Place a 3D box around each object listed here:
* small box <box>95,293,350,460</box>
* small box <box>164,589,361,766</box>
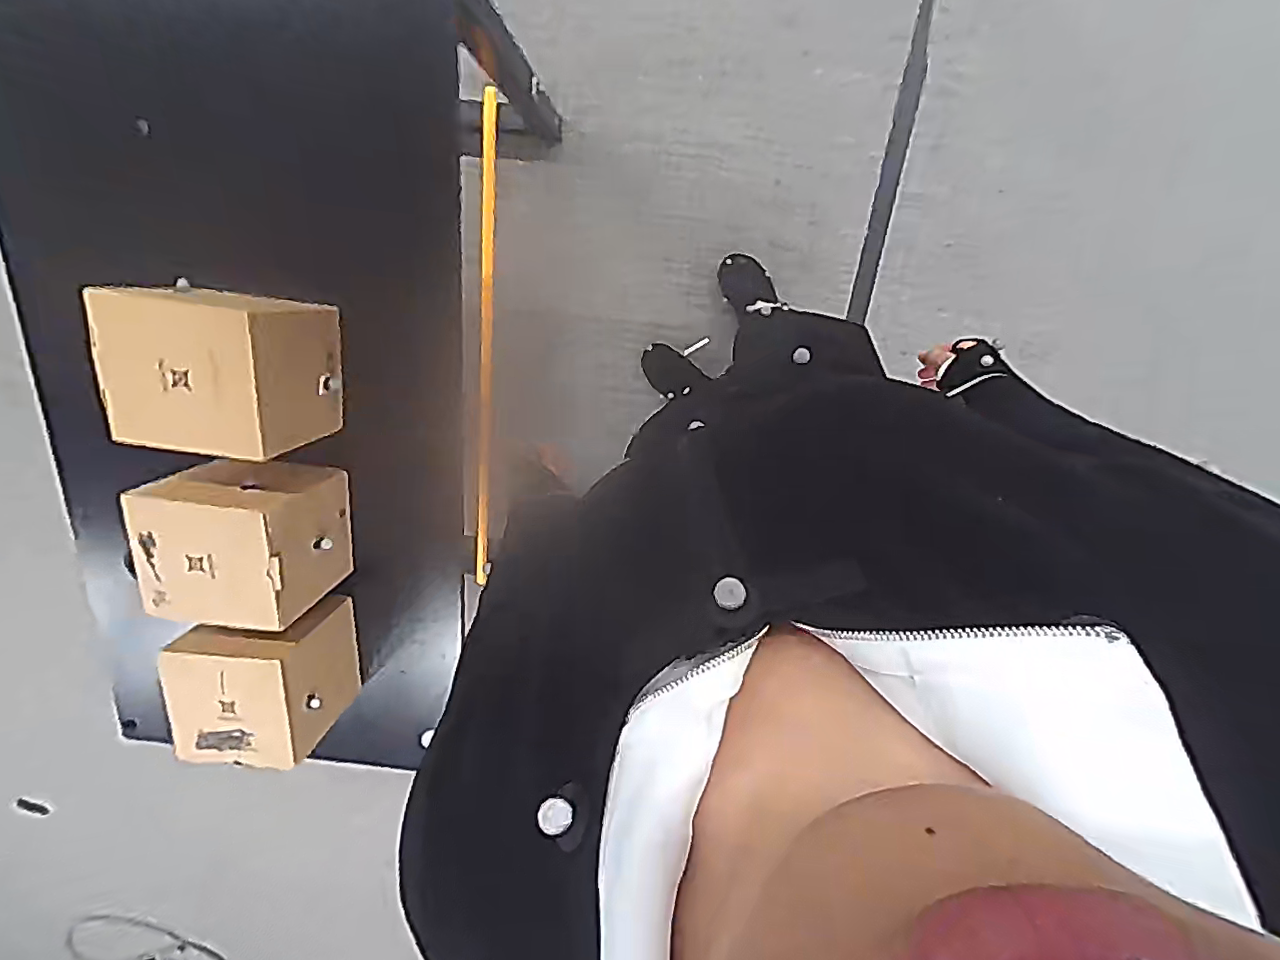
[{"bbox_3d":[-0.491,-0.135,0.666,0.179,0.176,0.168,6,110,0],"label":"small box"},{"bbox_3d":[-0.537,0.283,0.799,0.168,0.176,0.179,4,107,1],"label":"small box"}]
